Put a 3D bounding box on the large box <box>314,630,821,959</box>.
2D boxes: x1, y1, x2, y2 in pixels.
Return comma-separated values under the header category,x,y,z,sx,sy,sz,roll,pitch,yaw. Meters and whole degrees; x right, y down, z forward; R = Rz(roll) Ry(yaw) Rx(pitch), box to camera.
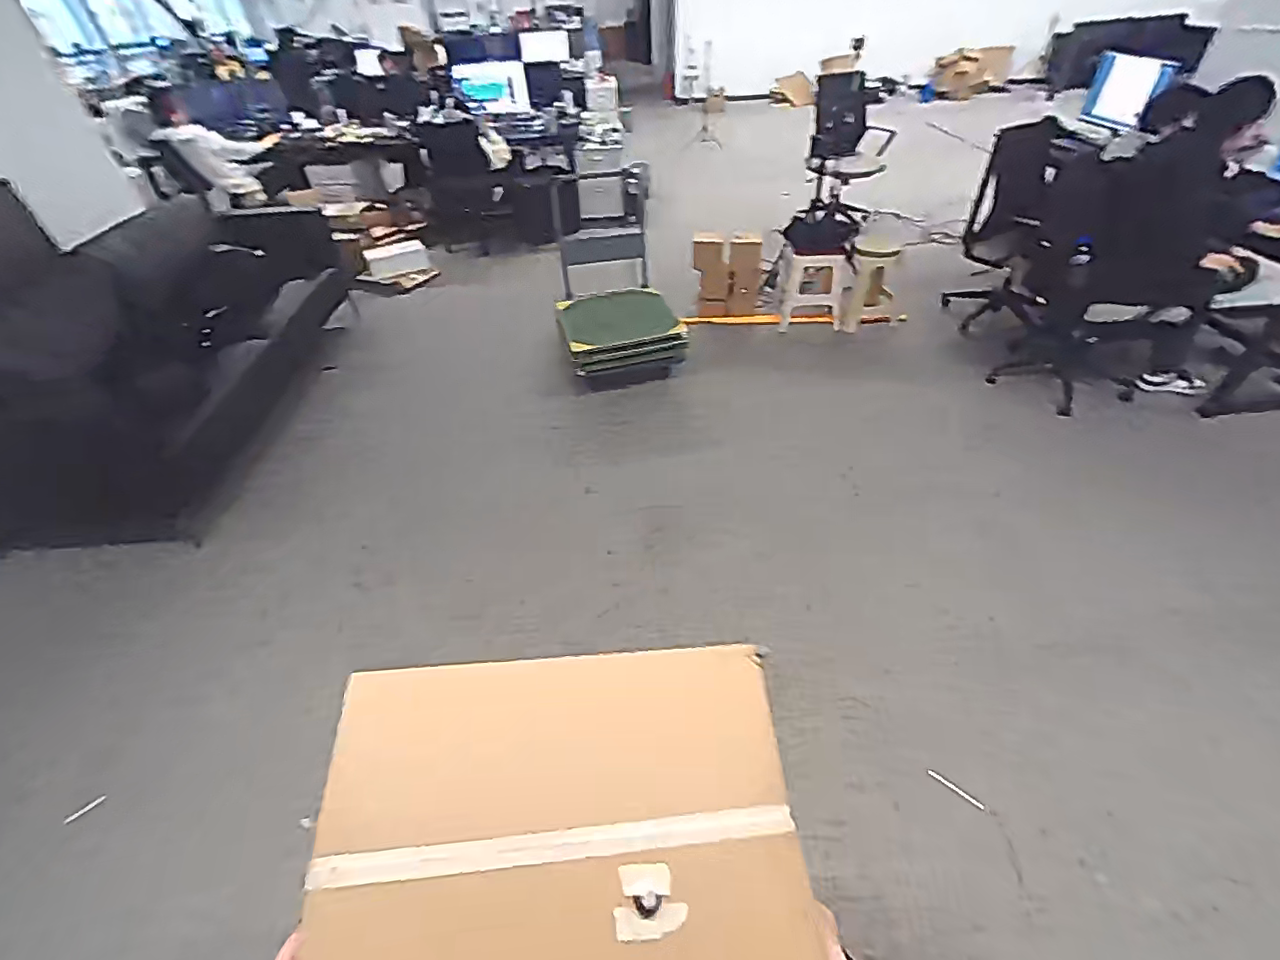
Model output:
category,x,y,z,sx,sy,sz,roll,pitch,yaw
large box,-0.078,0.382,0.602,0.408,0.320,0.320,-2,58,-8
